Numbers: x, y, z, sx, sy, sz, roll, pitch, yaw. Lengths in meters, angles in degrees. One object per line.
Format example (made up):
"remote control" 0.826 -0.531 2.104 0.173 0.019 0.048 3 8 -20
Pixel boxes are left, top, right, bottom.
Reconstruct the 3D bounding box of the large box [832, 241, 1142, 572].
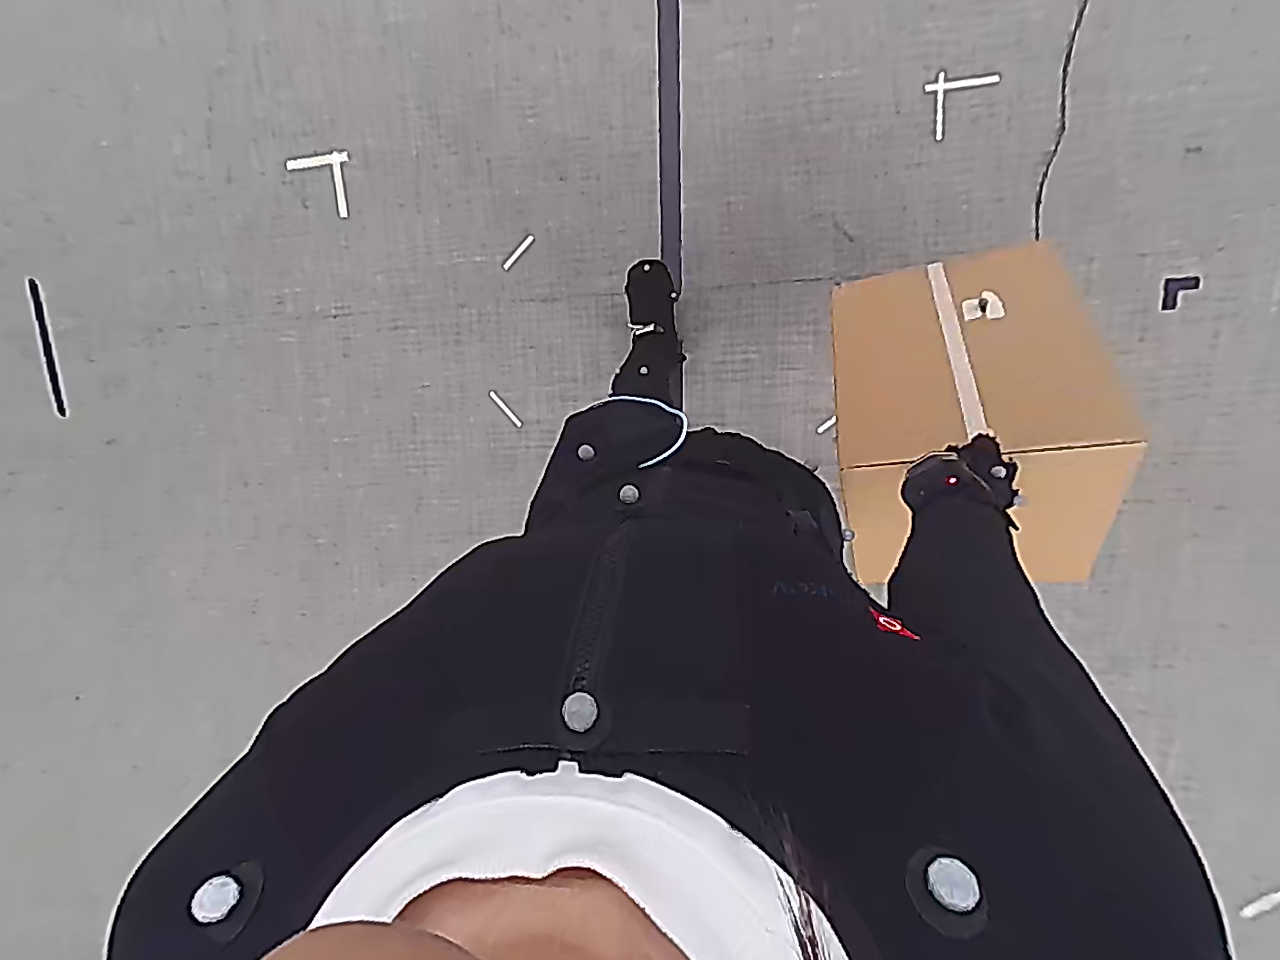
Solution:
"large box" 0.494 -0.103 0.865 0.320 0.408 0.320 -5 140 22
